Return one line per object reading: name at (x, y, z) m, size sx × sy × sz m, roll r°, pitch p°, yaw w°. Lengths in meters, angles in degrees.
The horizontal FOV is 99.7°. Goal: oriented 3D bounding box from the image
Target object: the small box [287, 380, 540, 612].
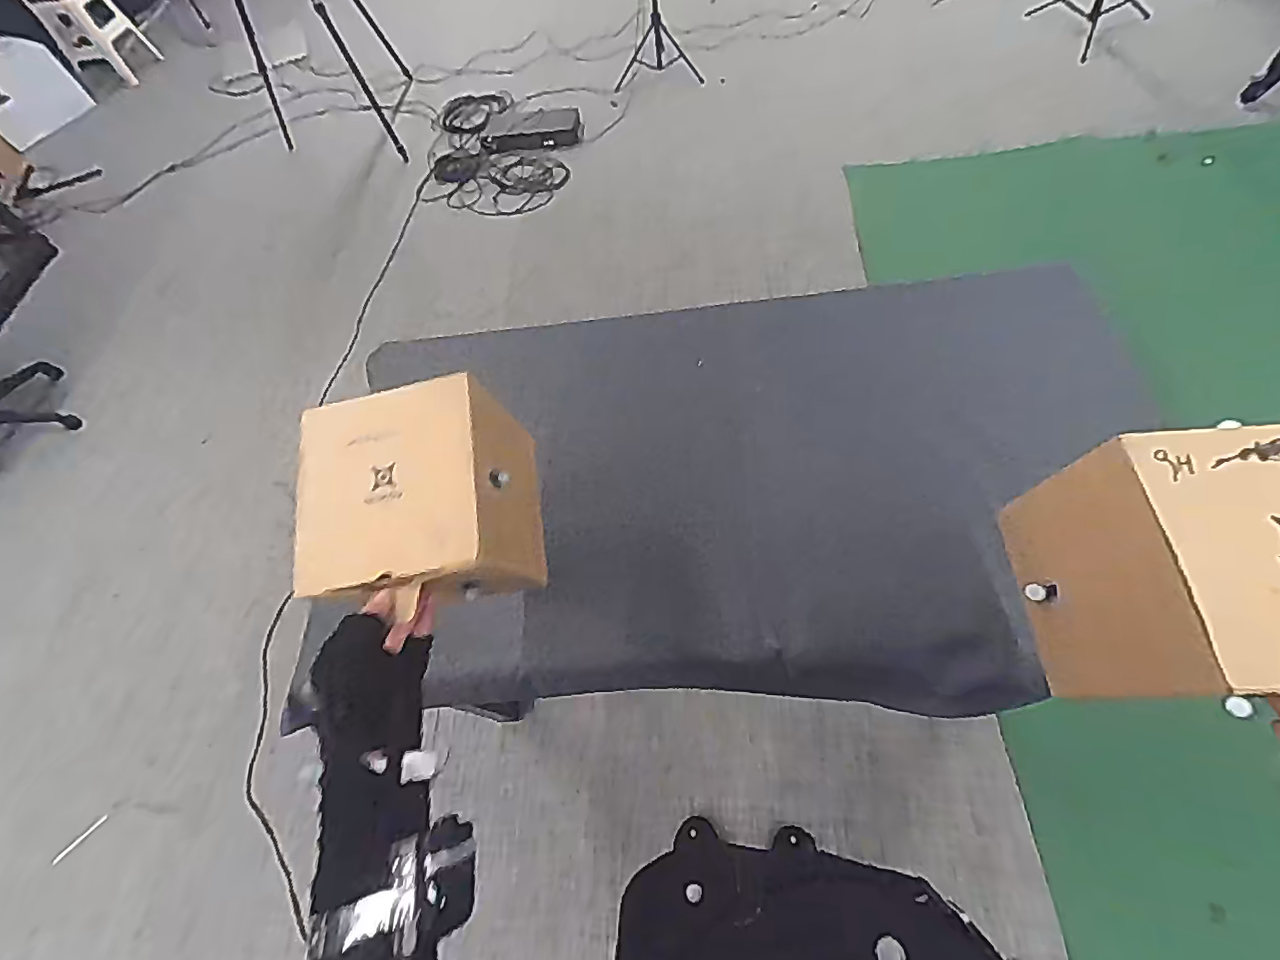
small box at (-0.205, 0.030, 0.530) m, size 0.168 × 0.176 × 0.179 m, roll -11°, pitch 71°, yaw 6°
